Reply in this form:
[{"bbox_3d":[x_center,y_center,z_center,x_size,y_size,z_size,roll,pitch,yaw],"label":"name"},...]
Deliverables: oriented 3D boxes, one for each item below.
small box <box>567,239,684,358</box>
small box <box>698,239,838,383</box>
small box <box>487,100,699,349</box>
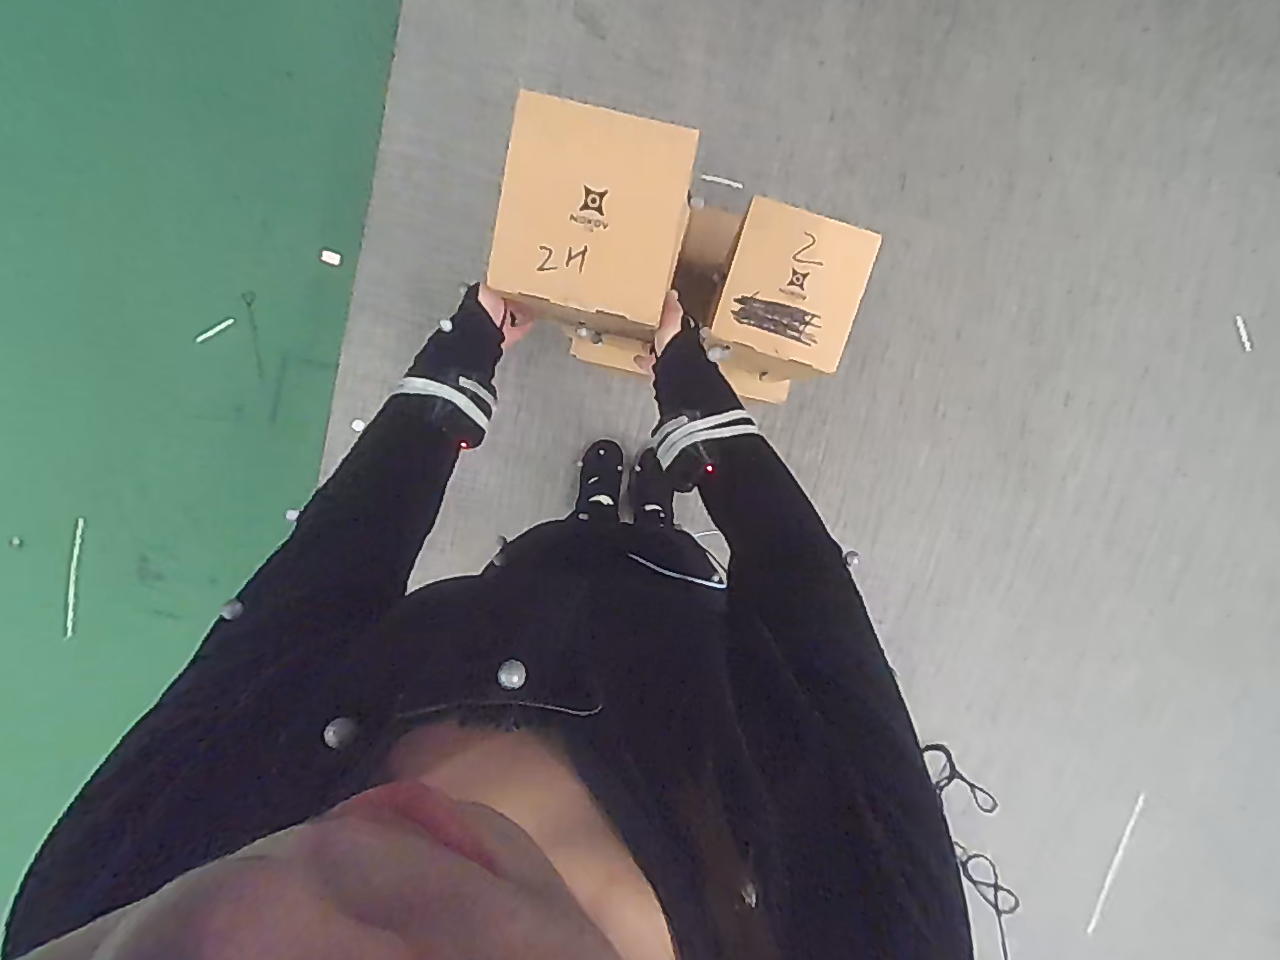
[{"bbox_3d":[-0.034,-0.313,0.901,0.168,0.176,0.179,14,99,-2],"label":"small box"},{"bbox_3d":[0.199,-0.267,0.902,0.168,0.176,0.179,17,97,-1],"label":"small box"},{"bbox_3d":[-0.044,-0.248,0.572,0.168,0.176,0.179,13,99,0],"label":"small box"}]
